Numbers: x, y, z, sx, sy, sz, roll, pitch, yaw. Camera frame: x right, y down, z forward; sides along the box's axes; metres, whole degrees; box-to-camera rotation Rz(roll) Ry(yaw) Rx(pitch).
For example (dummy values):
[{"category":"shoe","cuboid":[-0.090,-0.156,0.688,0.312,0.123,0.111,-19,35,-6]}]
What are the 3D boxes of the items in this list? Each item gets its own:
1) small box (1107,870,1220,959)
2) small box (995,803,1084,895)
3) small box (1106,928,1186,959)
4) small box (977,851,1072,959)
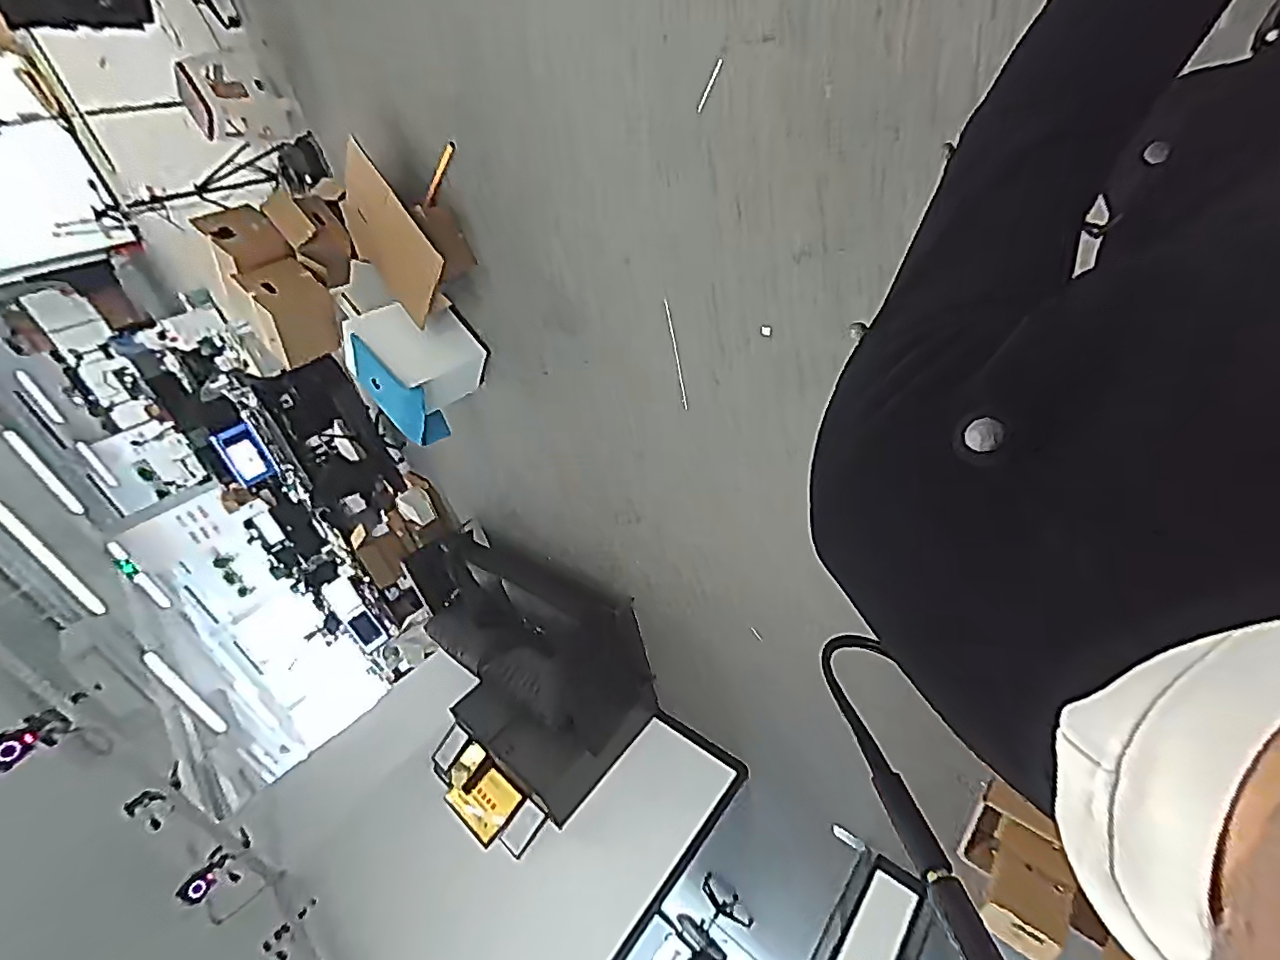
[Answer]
[{"category":"small box","cuboid":[1.380,1.186,1.423,0.168,0.176,0.179,23,136,35]},{"category":"small box","cuboid":[1.174,1.100,1.590,0.168,0.176,0.179,22,136,37]},{"category":"small box","cuboid":[1.268,1.261,1.328,0.168,0.176,0.179,23,136,37]},{"category":"small box","cuboid":[1.066,1.183,1.499,0.168,0.176,0.179,22,136,37]}]
